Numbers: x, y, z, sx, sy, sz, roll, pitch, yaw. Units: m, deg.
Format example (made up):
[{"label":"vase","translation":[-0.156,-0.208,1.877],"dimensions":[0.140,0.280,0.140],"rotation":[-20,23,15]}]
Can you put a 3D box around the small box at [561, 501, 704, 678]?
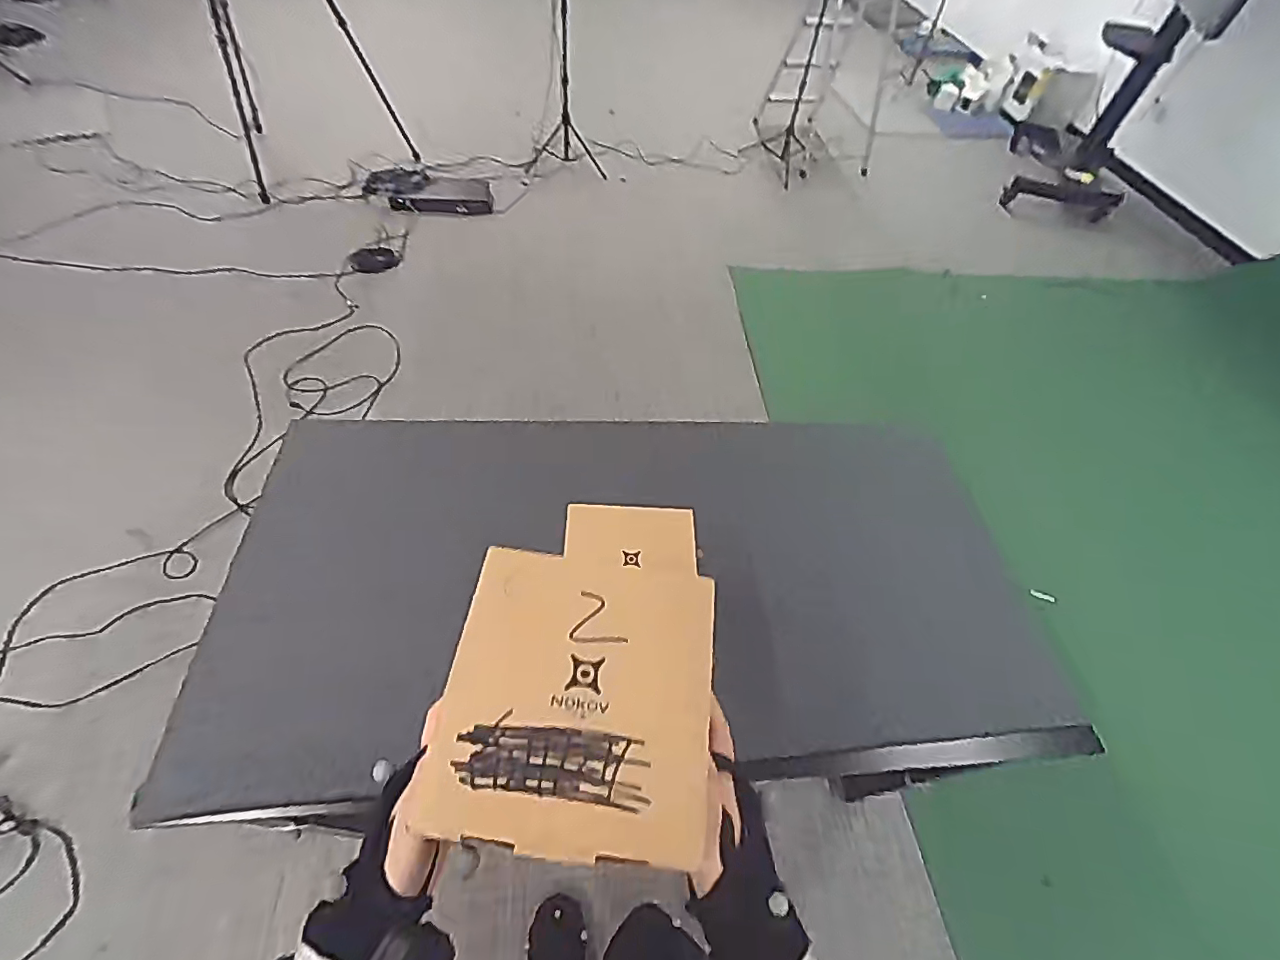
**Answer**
[{"label":"small box","translation":[-0.015,0.148,0.720],"dimensions":[0.168,0.176,0.179],"rotation":[2,53,-4]}]
